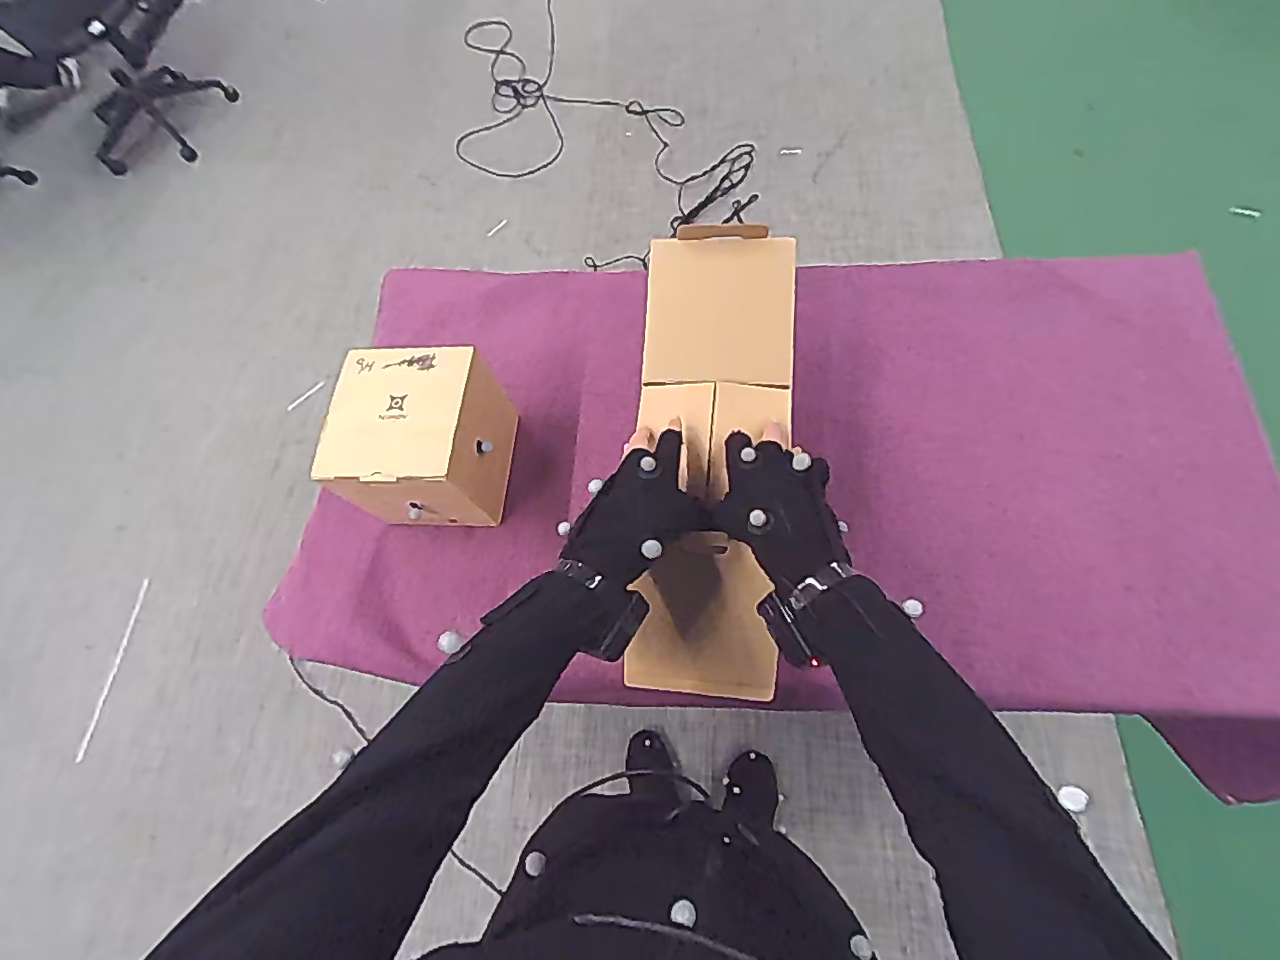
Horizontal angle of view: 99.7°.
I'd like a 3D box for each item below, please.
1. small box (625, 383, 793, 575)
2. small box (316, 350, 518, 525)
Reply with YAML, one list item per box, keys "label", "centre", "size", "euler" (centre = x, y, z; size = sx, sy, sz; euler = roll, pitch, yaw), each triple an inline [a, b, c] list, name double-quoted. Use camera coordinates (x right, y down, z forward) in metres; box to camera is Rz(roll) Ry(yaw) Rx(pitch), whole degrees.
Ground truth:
- label: "small box"
  centre: [0.084, 0.007, 0.632]
  size: [0.168, 0.176, 0.179]
  euler: [3, 67, 9]
- label: "small box"
  centre: [-0.270, -0.047, 0.701]
  size: [0.168, 0.176, 0.179]
  euler: [1, 68, 7]
